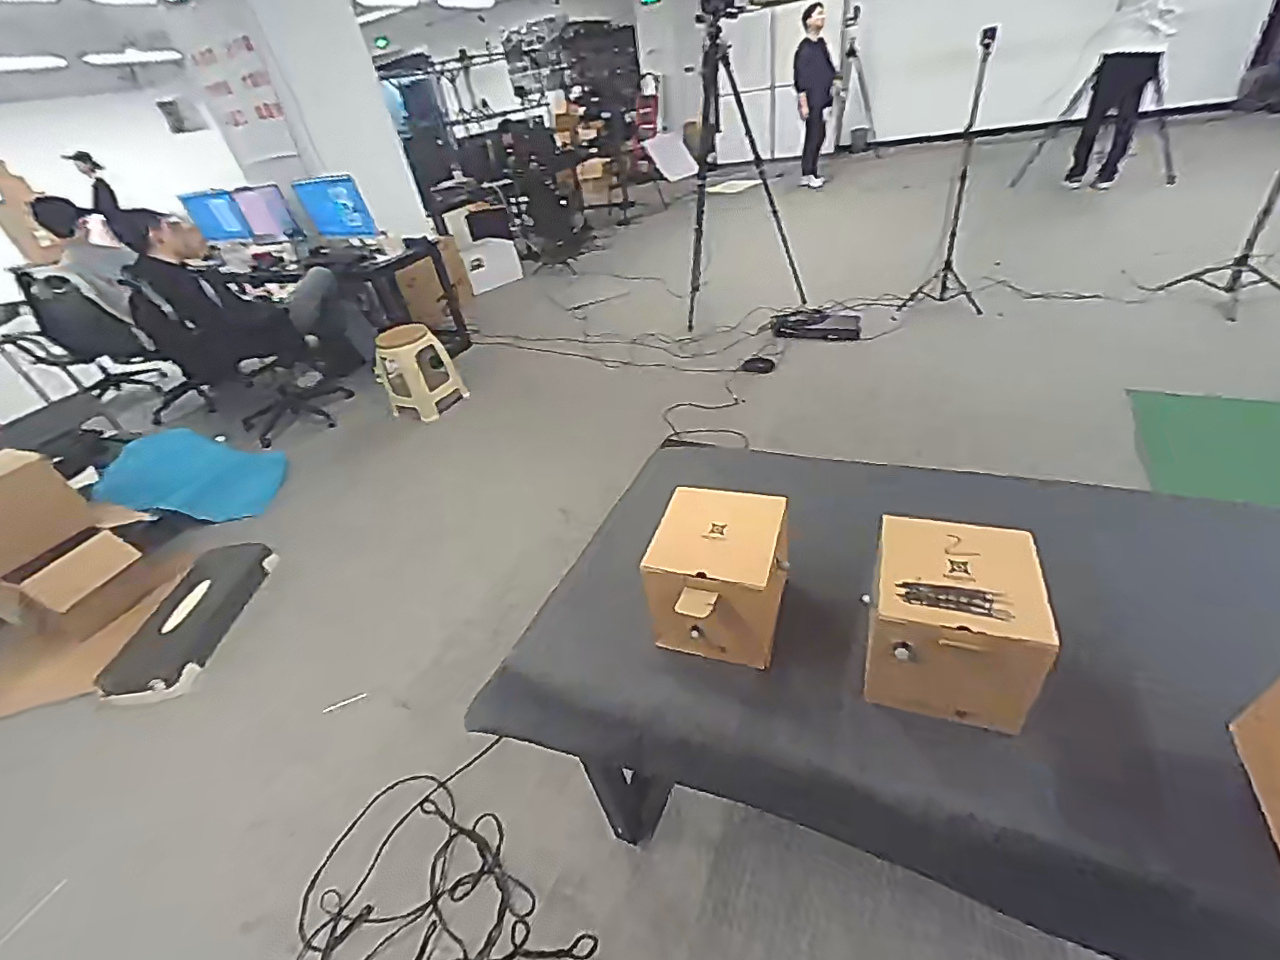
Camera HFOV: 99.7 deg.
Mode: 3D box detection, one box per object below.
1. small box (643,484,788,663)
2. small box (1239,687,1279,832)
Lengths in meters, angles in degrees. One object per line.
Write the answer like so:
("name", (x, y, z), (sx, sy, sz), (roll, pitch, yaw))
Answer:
("small box", (0.116, 0.131, 0.785), (0.168, 0.176, 0.179), (6, 40, 20))
("small box", (0.638, 0.250, 0.412), (0.168, 0.176, 0.179), (16, 37, 21))
